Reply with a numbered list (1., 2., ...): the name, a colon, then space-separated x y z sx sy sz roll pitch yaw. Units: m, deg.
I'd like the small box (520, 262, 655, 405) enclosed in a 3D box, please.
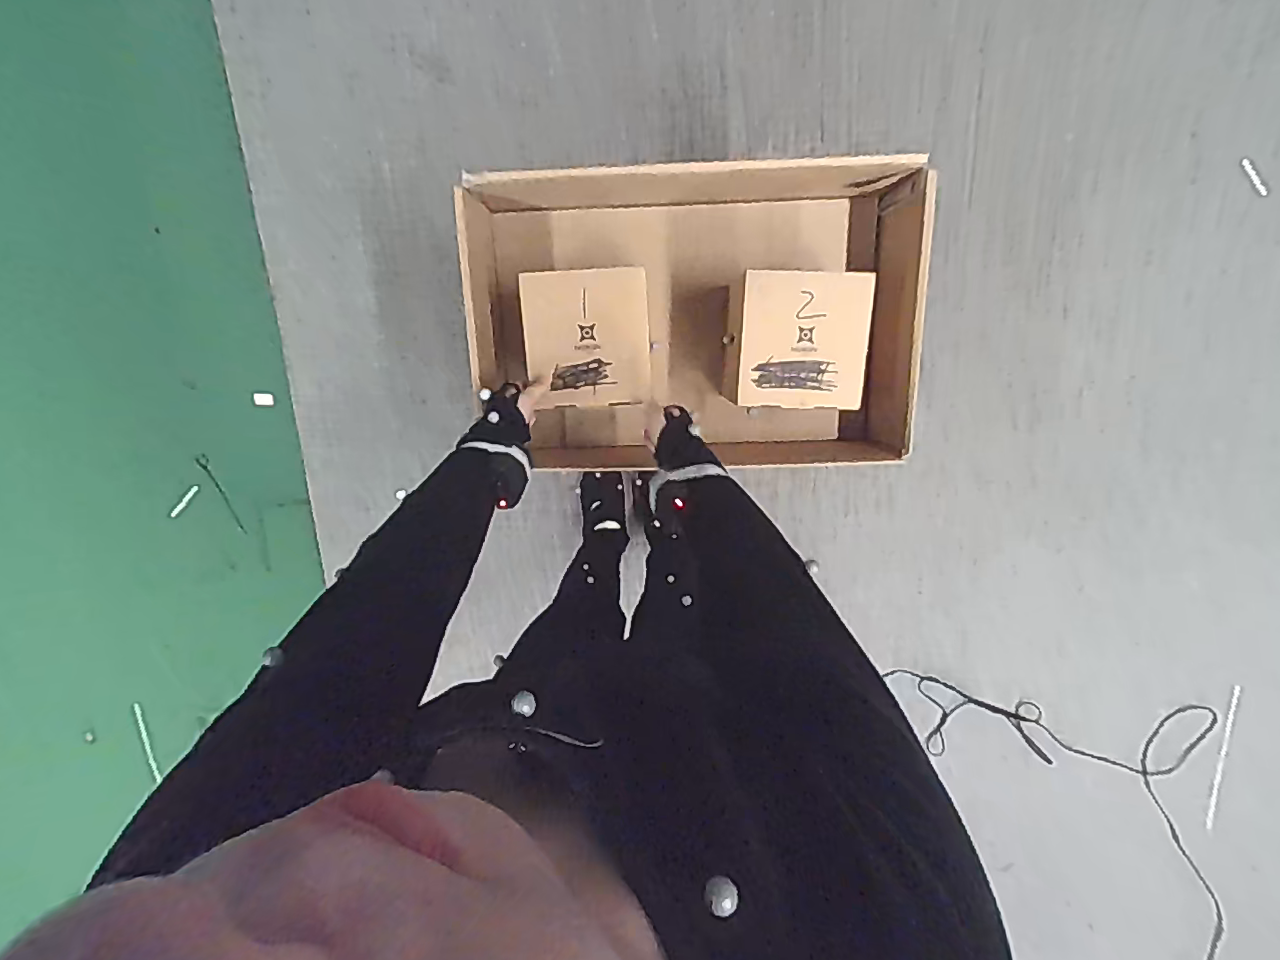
1. small box: -0.064 -0.207 0.780 0.168 0.176 0.179 -2 103 3
